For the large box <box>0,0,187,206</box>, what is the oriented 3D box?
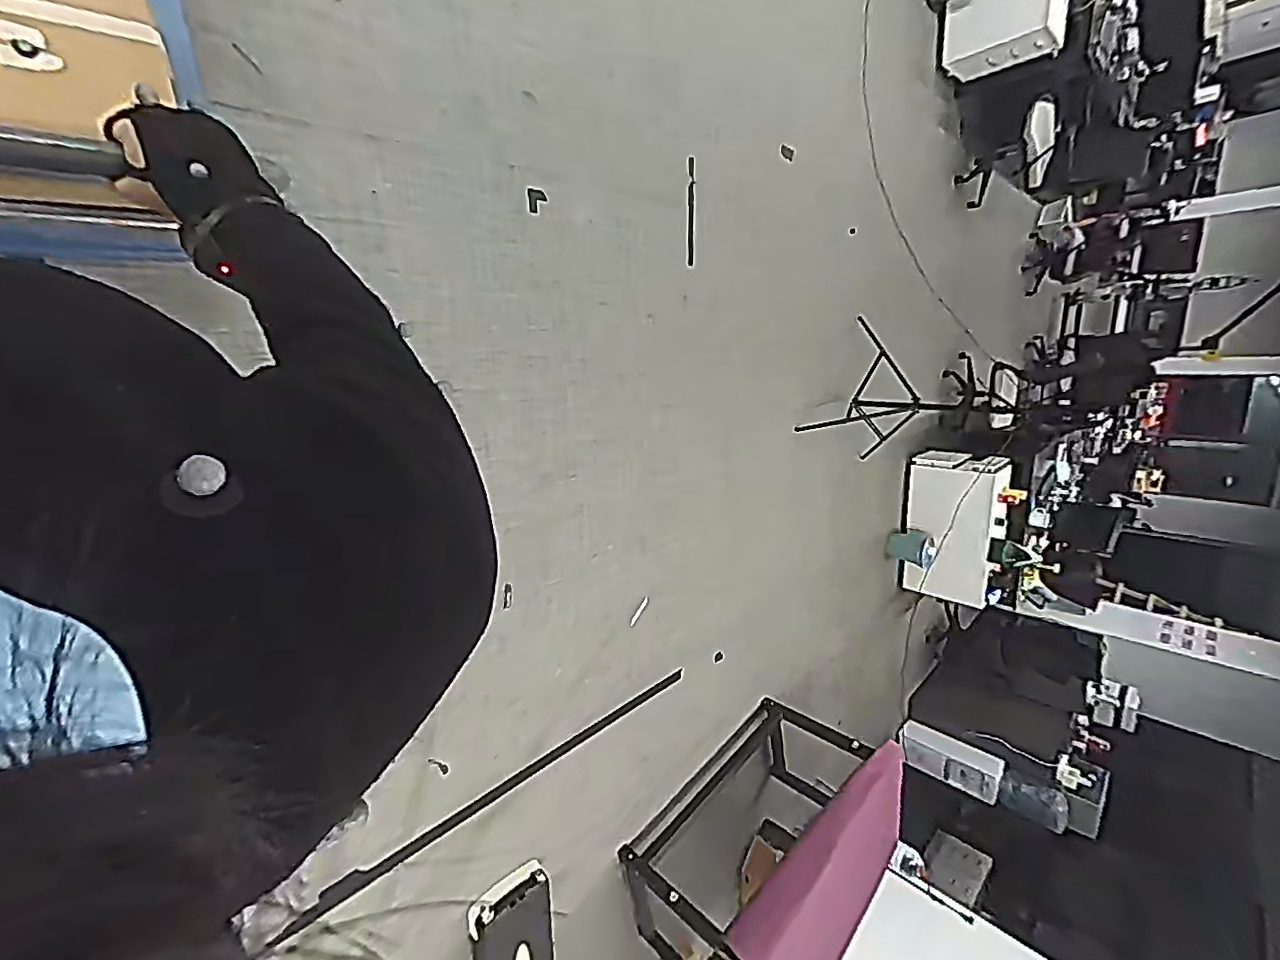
[{"bbox_3d":[-0.915,-0.575,0.718,0.408,0.320,0.320,-19,112,-41],"label":"large box"}]
